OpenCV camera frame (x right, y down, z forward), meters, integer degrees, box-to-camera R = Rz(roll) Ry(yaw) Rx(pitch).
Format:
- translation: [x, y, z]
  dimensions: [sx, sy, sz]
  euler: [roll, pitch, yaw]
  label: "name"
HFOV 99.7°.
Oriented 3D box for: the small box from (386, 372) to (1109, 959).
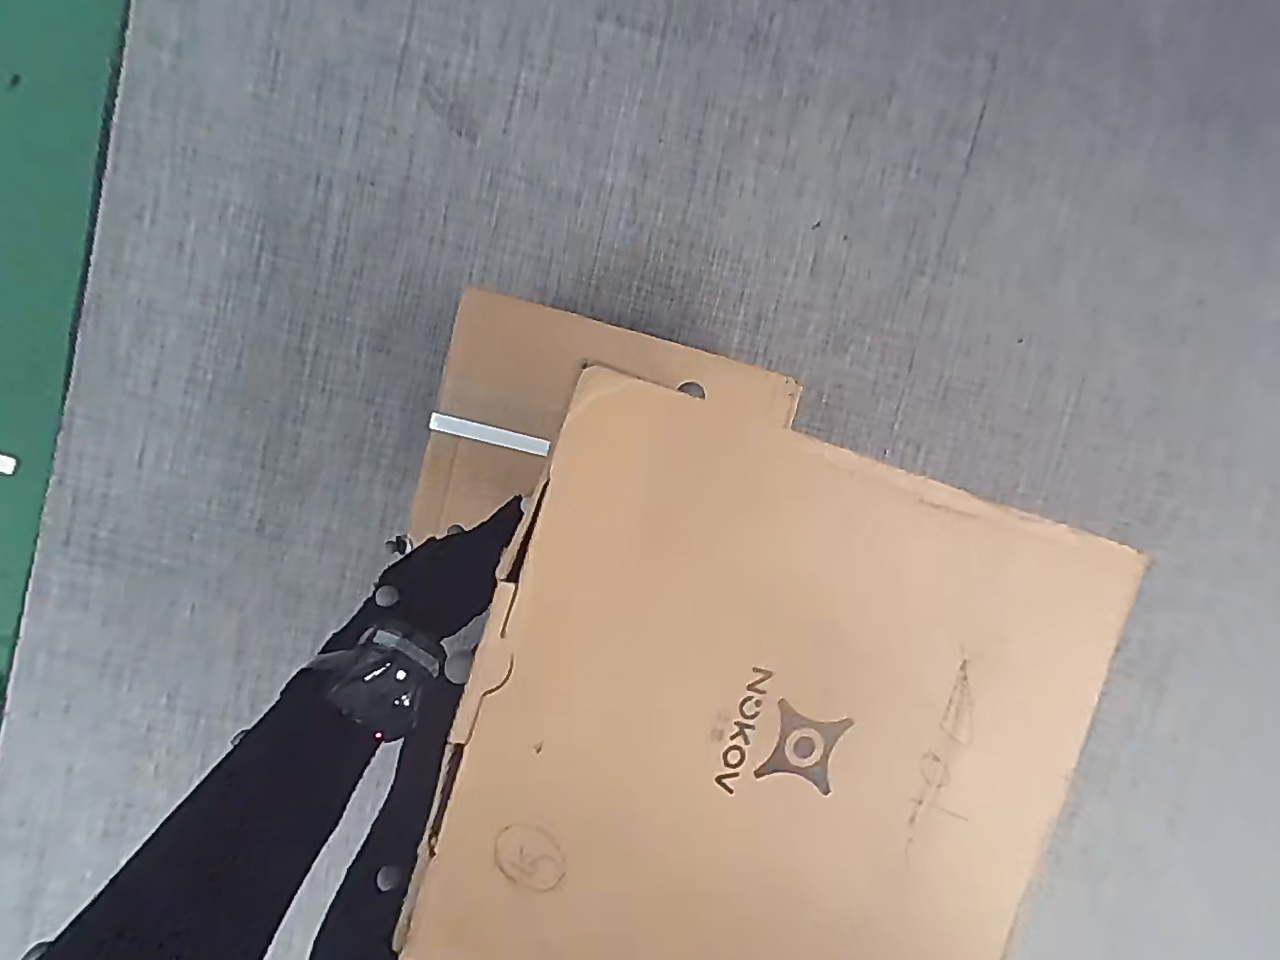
- translation: [0.026, 0.067, 0.232]
  dimensions: [0.179, 0.176, 0.168]
  euler: [16, 93, -9]
  label: "small box"
